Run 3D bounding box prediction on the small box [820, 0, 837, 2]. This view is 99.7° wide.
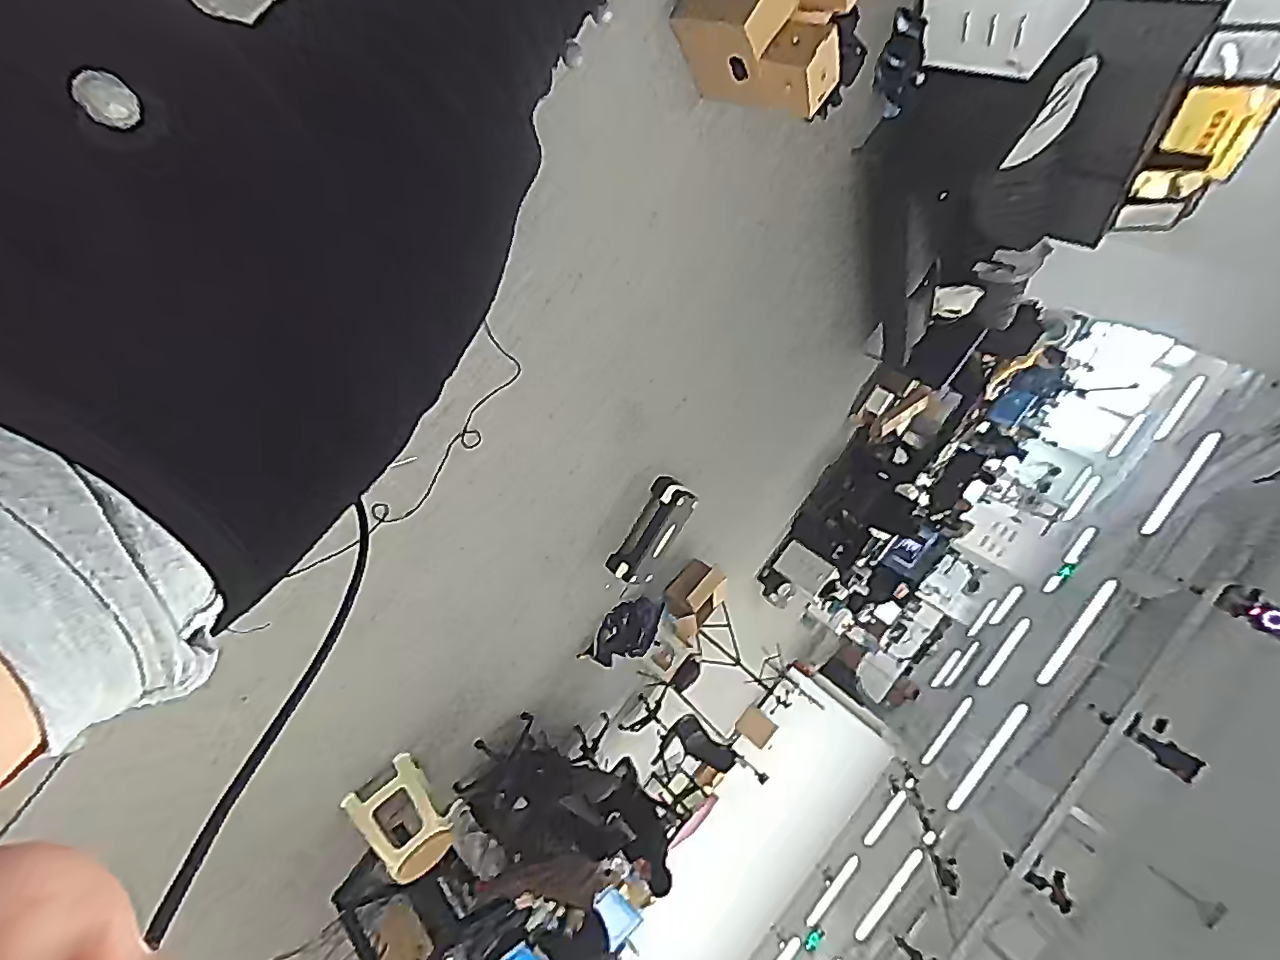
[{"bbox_3d":[0.538,-1.562,1.589,0.168,0.176,0.179,-56,147,0],"label":"small box"}]

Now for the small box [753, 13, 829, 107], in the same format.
[{"bbox_3d":[0.480,-1.338,1.723,0.168,0.176,0.179,-55,152,-2],"label":"small box"}]
